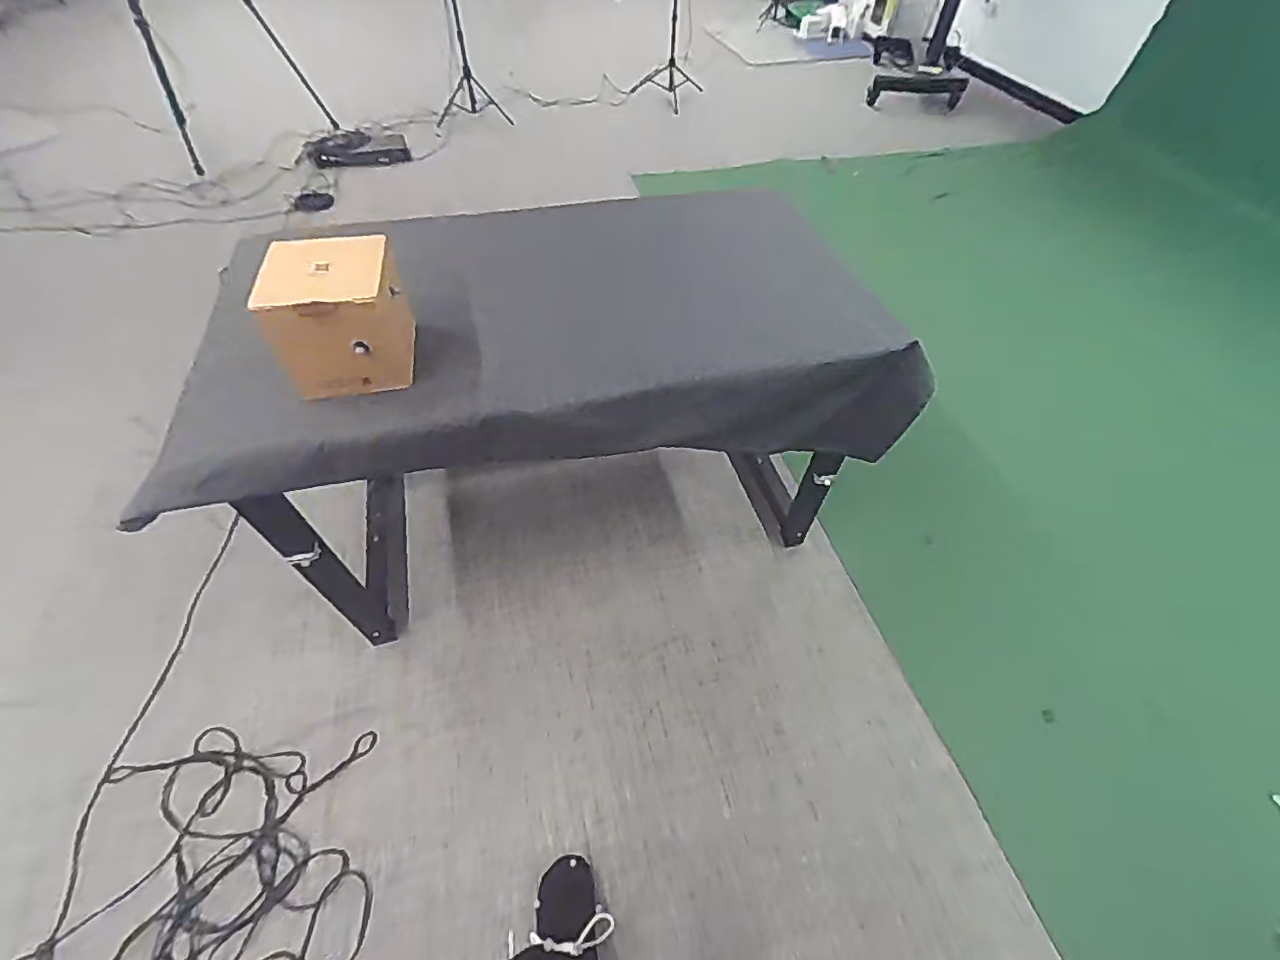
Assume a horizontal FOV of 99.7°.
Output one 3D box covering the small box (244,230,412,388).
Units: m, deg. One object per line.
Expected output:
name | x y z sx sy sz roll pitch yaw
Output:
small box | -0.457 -0.255 0.826 0.168 0.176 0.179 -8 52 -10
